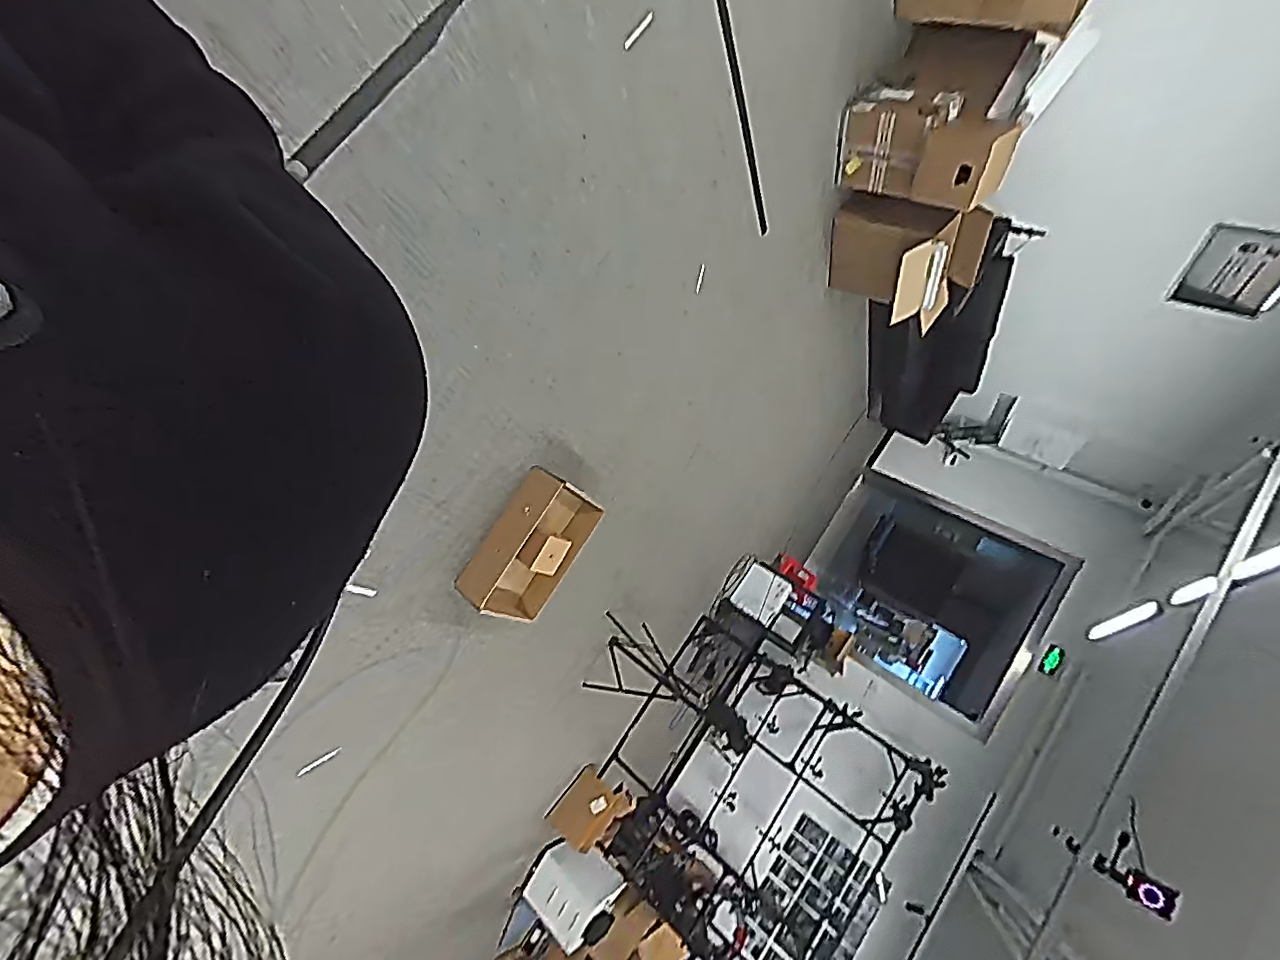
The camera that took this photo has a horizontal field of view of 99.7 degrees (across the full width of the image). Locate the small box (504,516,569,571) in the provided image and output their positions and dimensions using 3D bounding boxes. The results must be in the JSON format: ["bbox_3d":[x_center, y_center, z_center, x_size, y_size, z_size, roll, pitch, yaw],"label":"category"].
[{"bbox_3d":[-0.445,0.274,2.331,0.168,0.176,0.179,-60,149,-1],"label":"small box"}]
